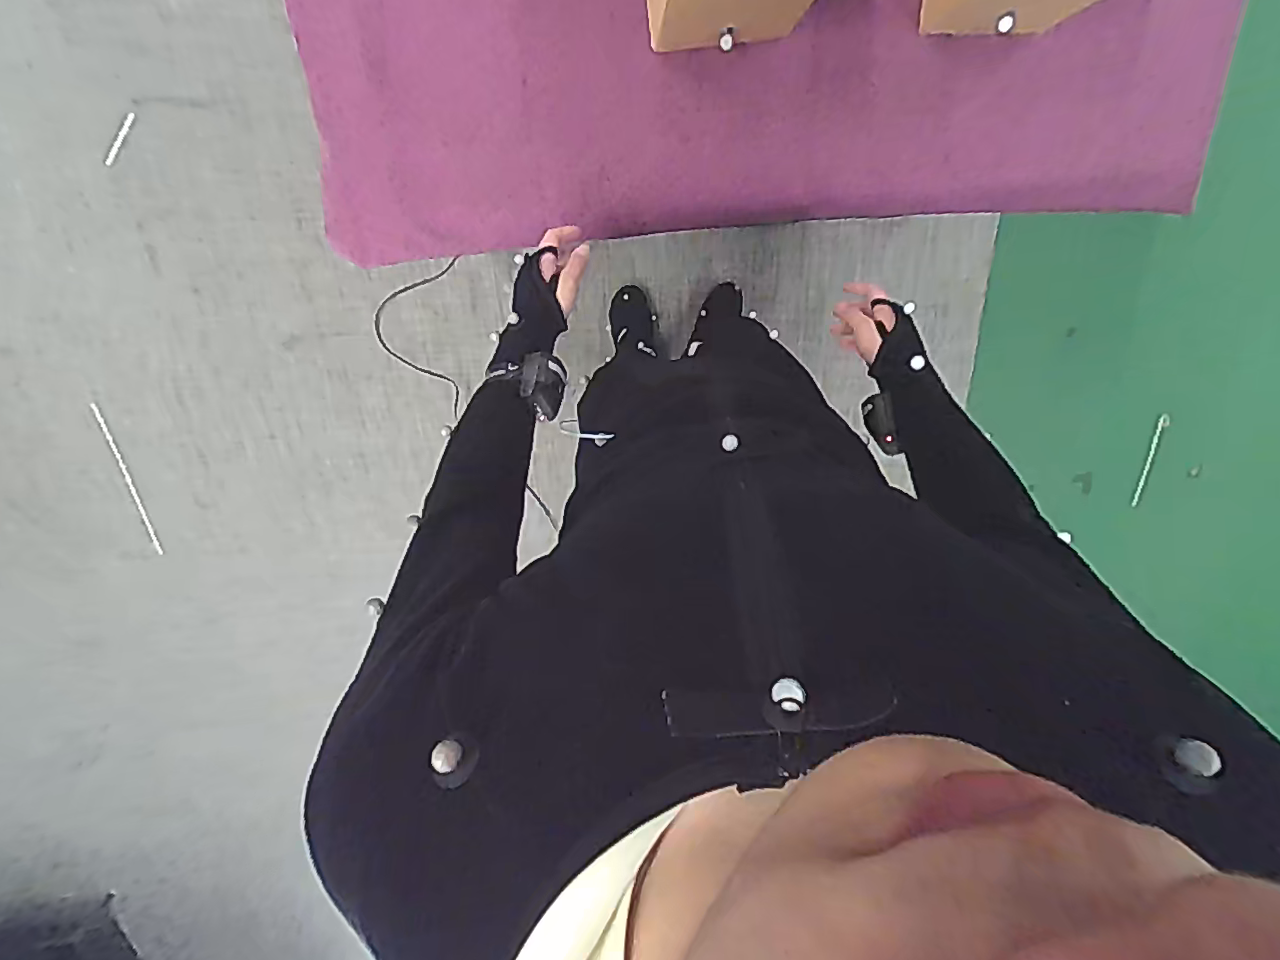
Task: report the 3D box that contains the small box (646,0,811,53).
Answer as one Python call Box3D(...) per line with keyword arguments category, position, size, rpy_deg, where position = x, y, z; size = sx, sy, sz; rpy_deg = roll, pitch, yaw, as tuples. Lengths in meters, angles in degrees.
Box3D(category="small box", position=(0.097, -0.598, 0.585), size=(0.179, 0.176, 0.168), rpy_deg=(-8, 111, -1))

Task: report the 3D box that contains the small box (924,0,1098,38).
Box3D(category="small box", position=(0.441, -0.628, 0.593), size=(0.168, 0.176, 0.179), rpy_deg=(-2, 111, -2))
